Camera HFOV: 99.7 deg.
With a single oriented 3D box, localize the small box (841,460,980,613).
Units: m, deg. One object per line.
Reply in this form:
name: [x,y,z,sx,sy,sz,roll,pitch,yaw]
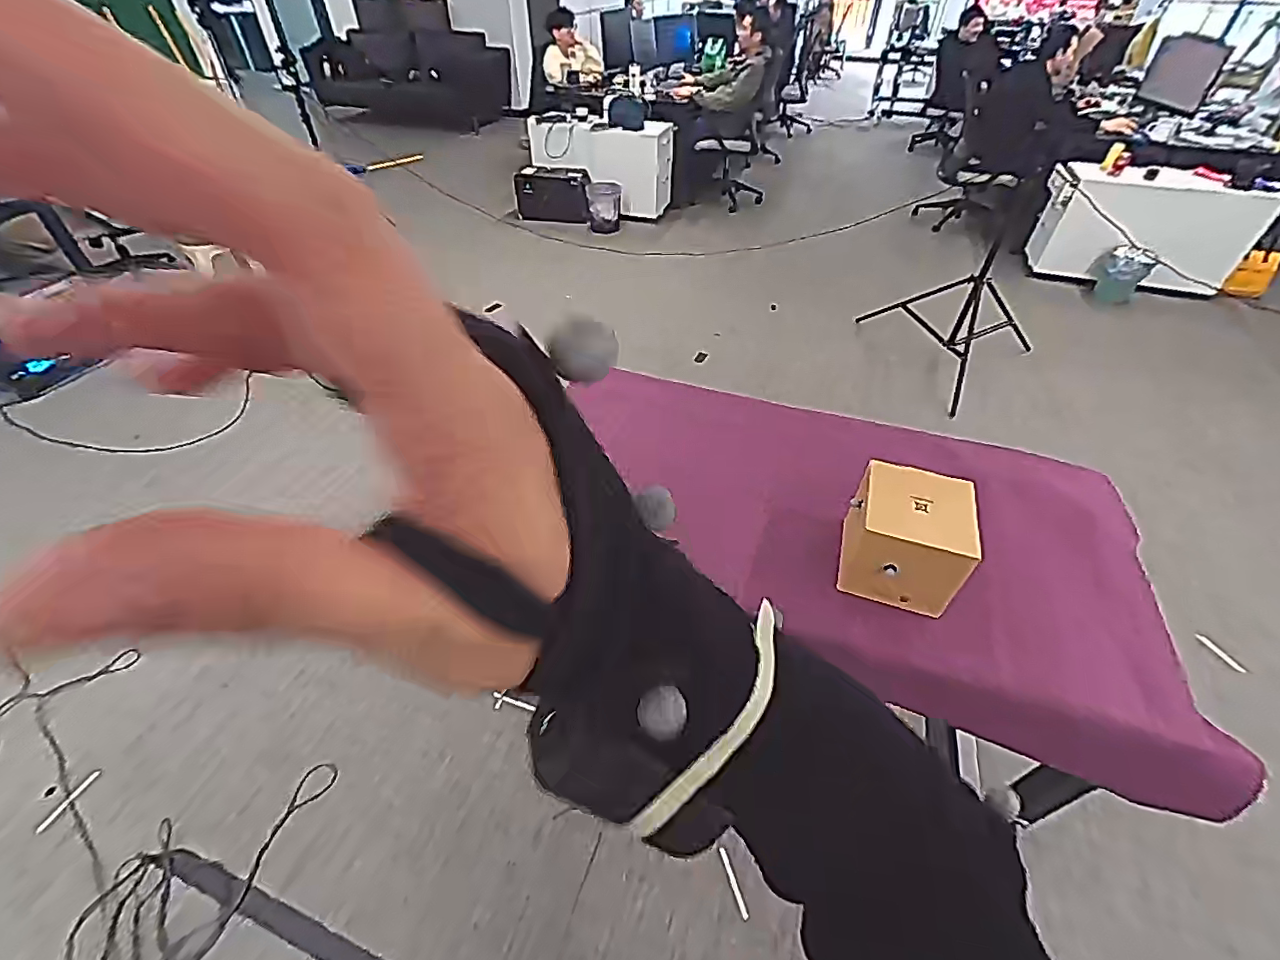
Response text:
small box: [0.450,0.098,0.920,0.168,0.176,0.179,14,45,14]
